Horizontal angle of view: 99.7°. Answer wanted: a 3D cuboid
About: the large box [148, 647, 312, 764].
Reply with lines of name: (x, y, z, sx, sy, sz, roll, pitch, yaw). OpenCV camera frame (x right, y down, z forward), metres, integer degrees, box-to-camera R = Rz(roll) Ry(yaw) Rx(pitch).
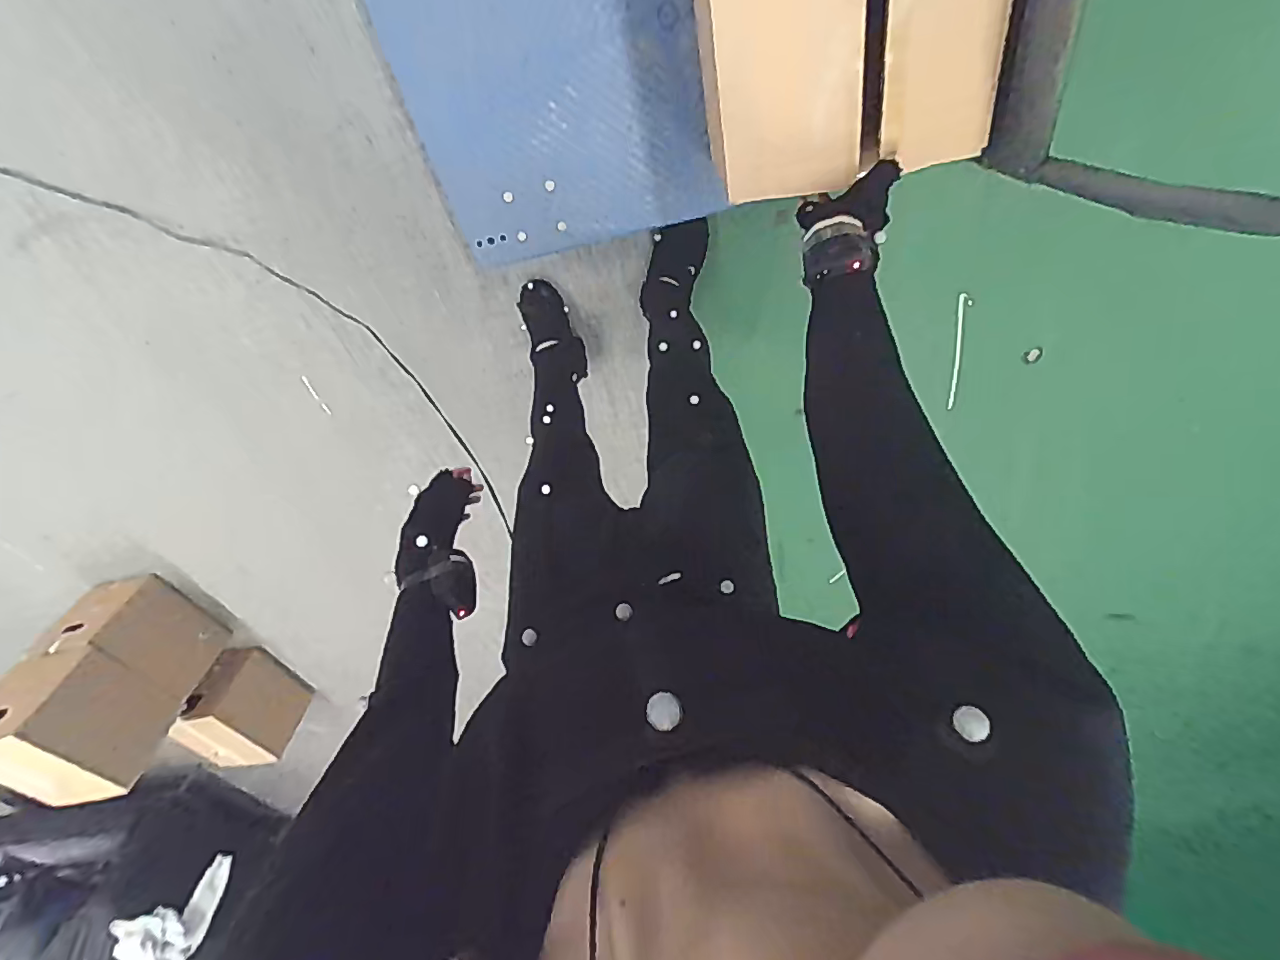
large box: (-1.732, 0.971, 2.325, 0.320, 0.320, 0.408, -10, 130, 12)
